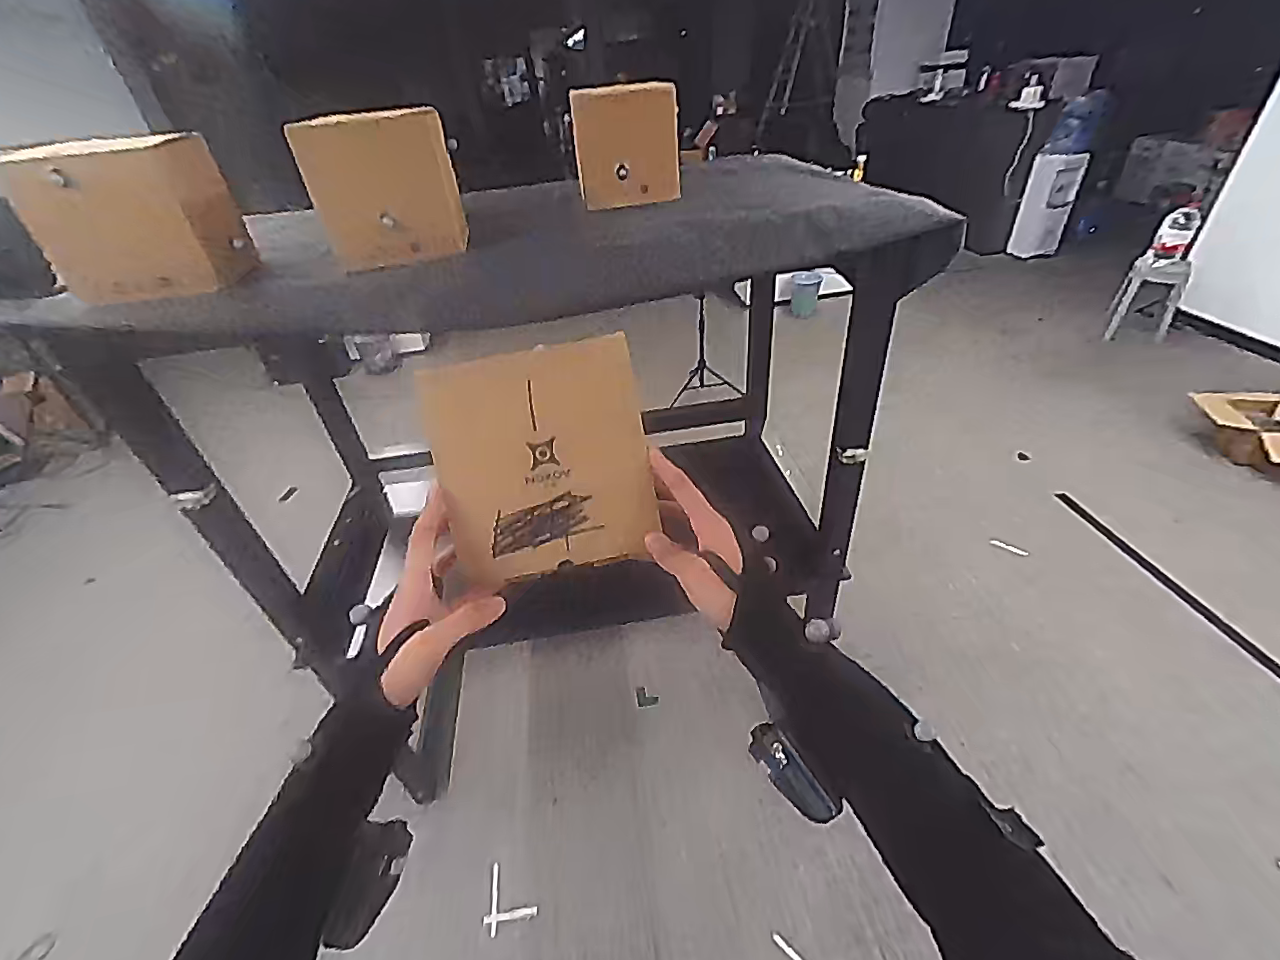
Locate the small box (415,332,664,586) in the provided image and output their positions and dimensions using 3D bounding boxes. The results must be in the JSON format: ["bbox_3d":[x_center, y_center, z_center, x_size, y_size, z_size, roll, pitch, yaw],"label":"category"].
[{"bbox_3d":[-0.078,-0.025,0.494,0.168,0.179,0.176,-11,8,-3],"label":"small box"}]

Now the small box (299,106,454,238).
[{"bbox_3d":[-0.429,-0.520,0.919,0.168,0.176,0.179,-6,39,-2],"label":"small box"}]

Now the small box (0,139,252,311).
[{"bbox_3d":[-0.651,-0.336,0.709,0.168,0.176,0.179,-13,38,-9],"label":"small box"}]

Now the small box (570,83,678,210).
[{"bbox_3d":[-0.029,-0.586,0.949,0.168,0.176,0.179,-9,39,-3],"label":"small box"}]
